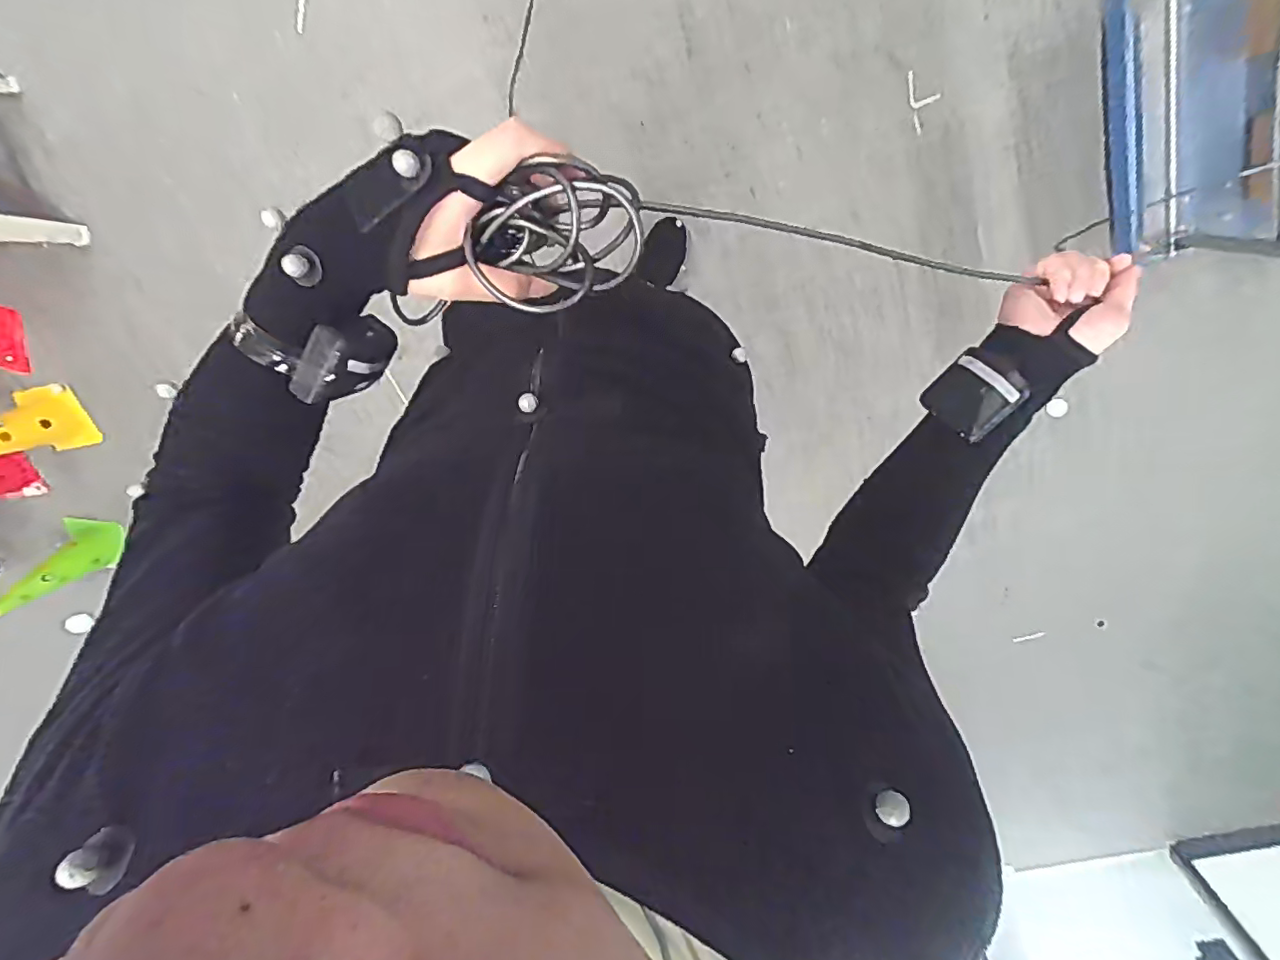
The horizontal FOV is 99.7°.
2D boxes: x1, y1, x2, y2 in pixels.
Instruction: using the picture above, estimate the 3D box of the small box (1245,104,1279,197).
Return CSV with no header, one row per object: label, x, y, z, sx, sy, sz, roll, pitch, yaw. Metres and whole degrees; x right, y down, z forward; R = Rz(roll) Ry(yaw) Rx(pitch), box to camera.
small box,1.330,-0.653,1.022,0.179,0.176,0.168,-17,114,13
